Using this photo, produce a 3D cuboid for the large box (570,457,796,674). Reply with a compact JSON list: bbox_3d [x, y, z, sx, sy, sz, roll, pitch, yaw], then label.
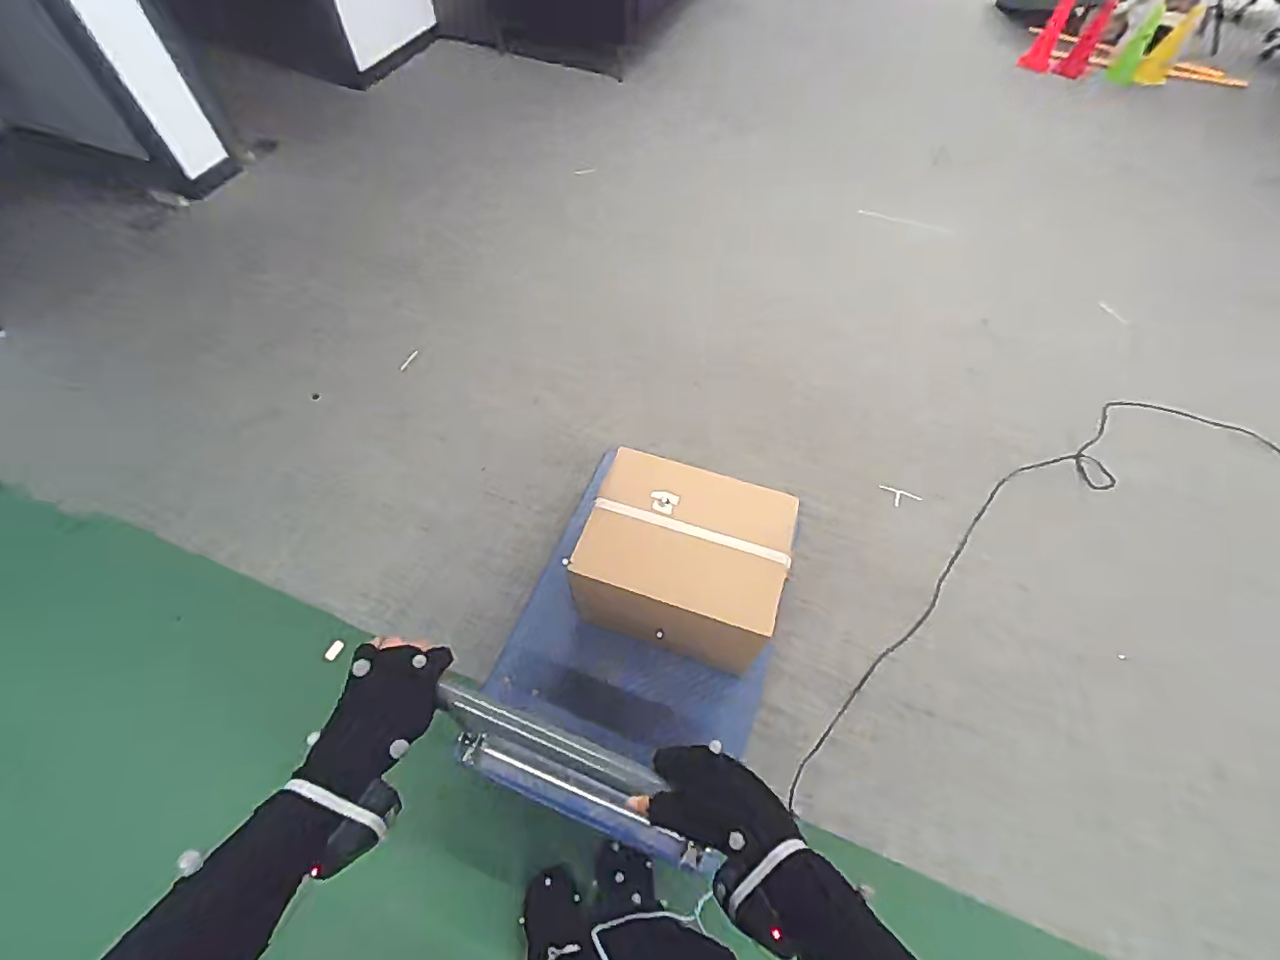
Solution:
[{"bbox_3d":[0.098,0.198,1.215,0.408,0.320,0.320,16,58,10],"label":"large box"}]
